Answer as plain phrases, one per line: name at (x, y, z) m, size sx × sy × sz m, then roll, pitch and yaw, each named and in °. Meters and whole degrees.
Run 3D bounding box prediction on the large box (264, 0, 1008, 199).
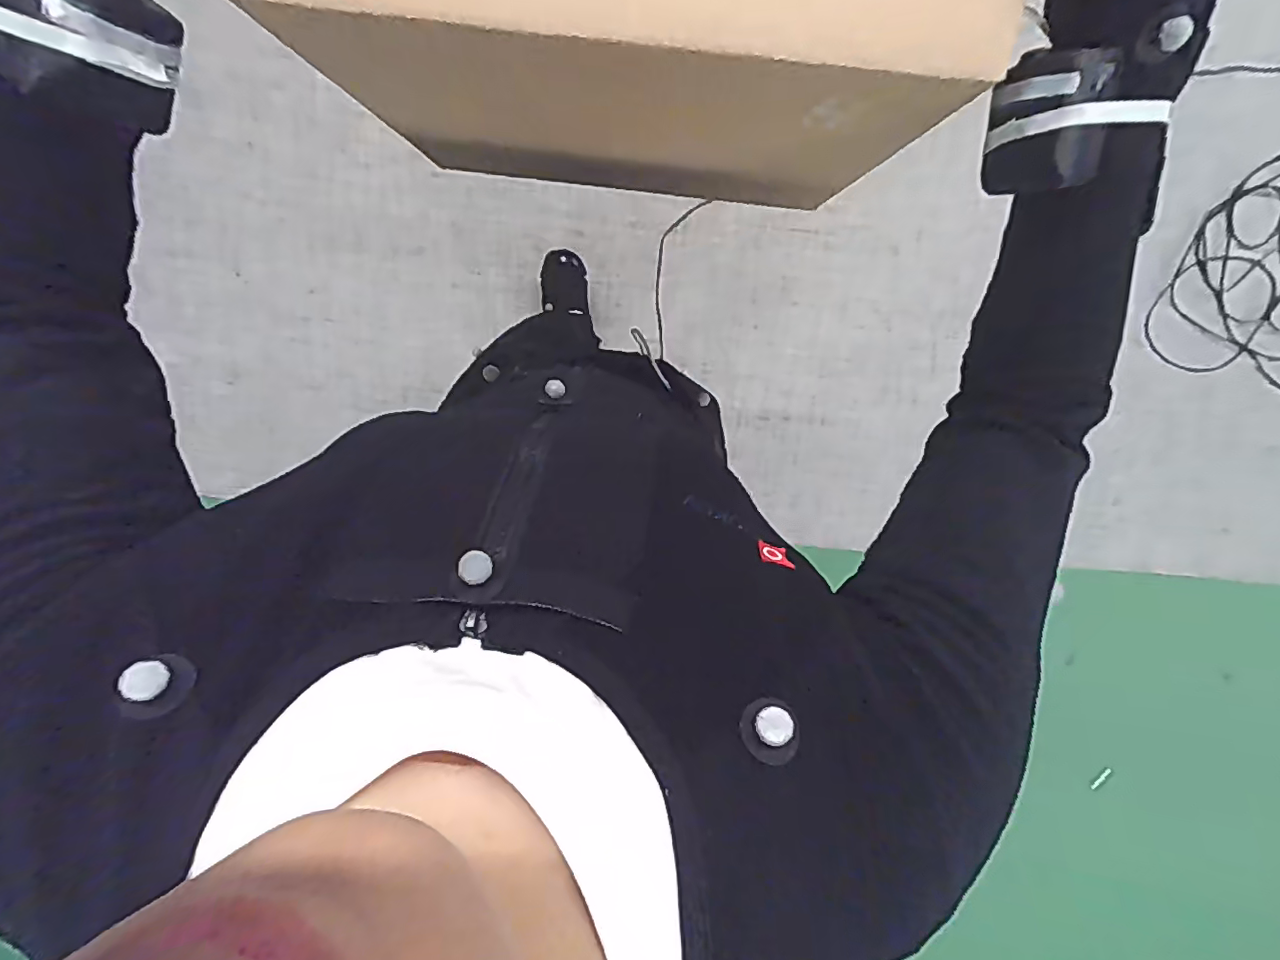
large box at (0.005, -0.421, 0.394) m, size 0.408 × 0.320 × 0.320 m, roll 5°, pitch 106°, yaw -1°
